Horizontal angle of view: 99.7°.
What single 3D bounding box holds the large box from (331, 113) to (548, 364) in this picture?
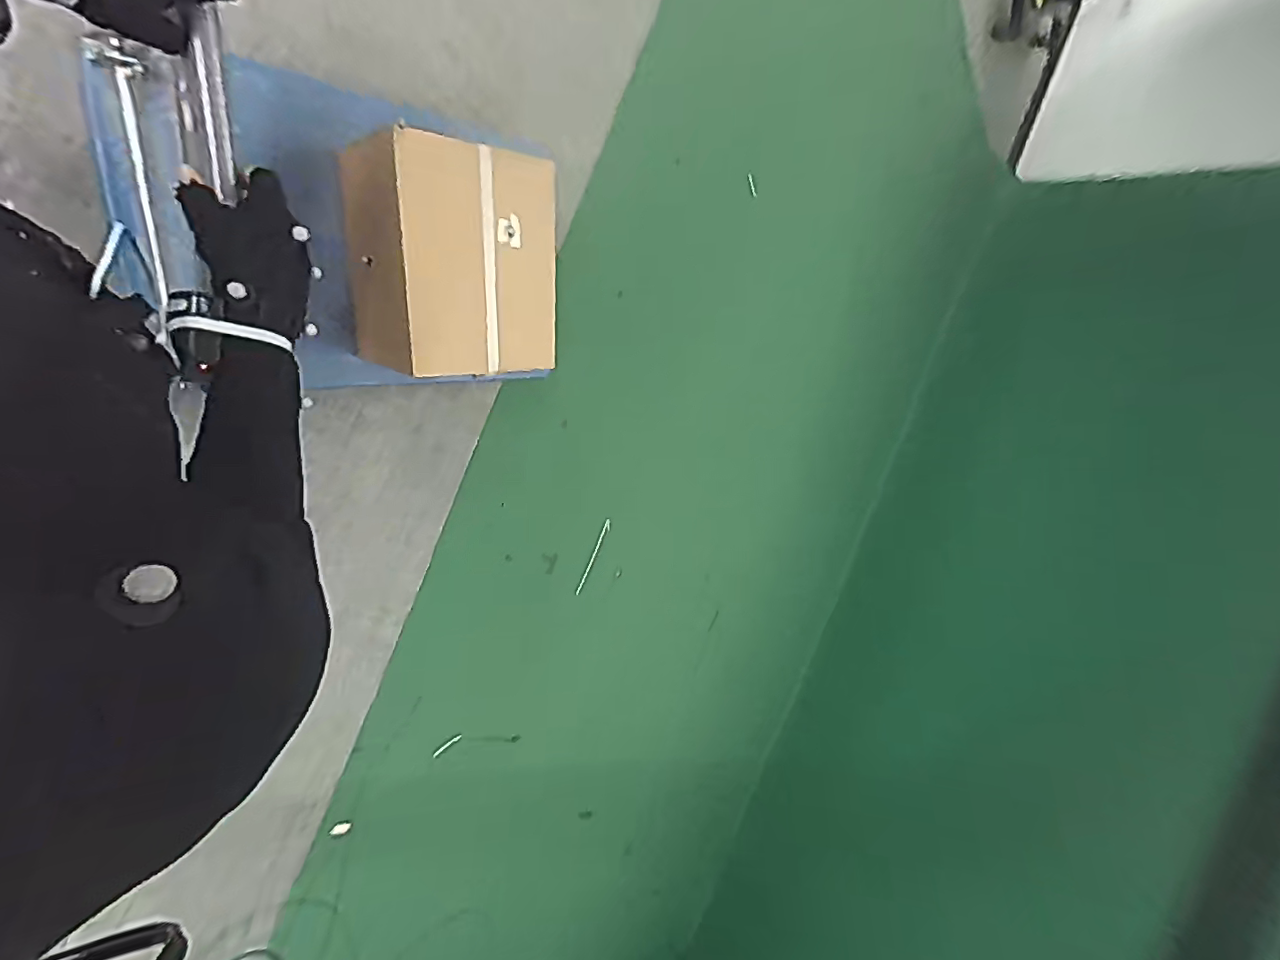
[{"bbox_3d":[-0.408,-0.470,1.126,0.320,0.320,0.408,-15,116,-41],"label":"large box"}]
